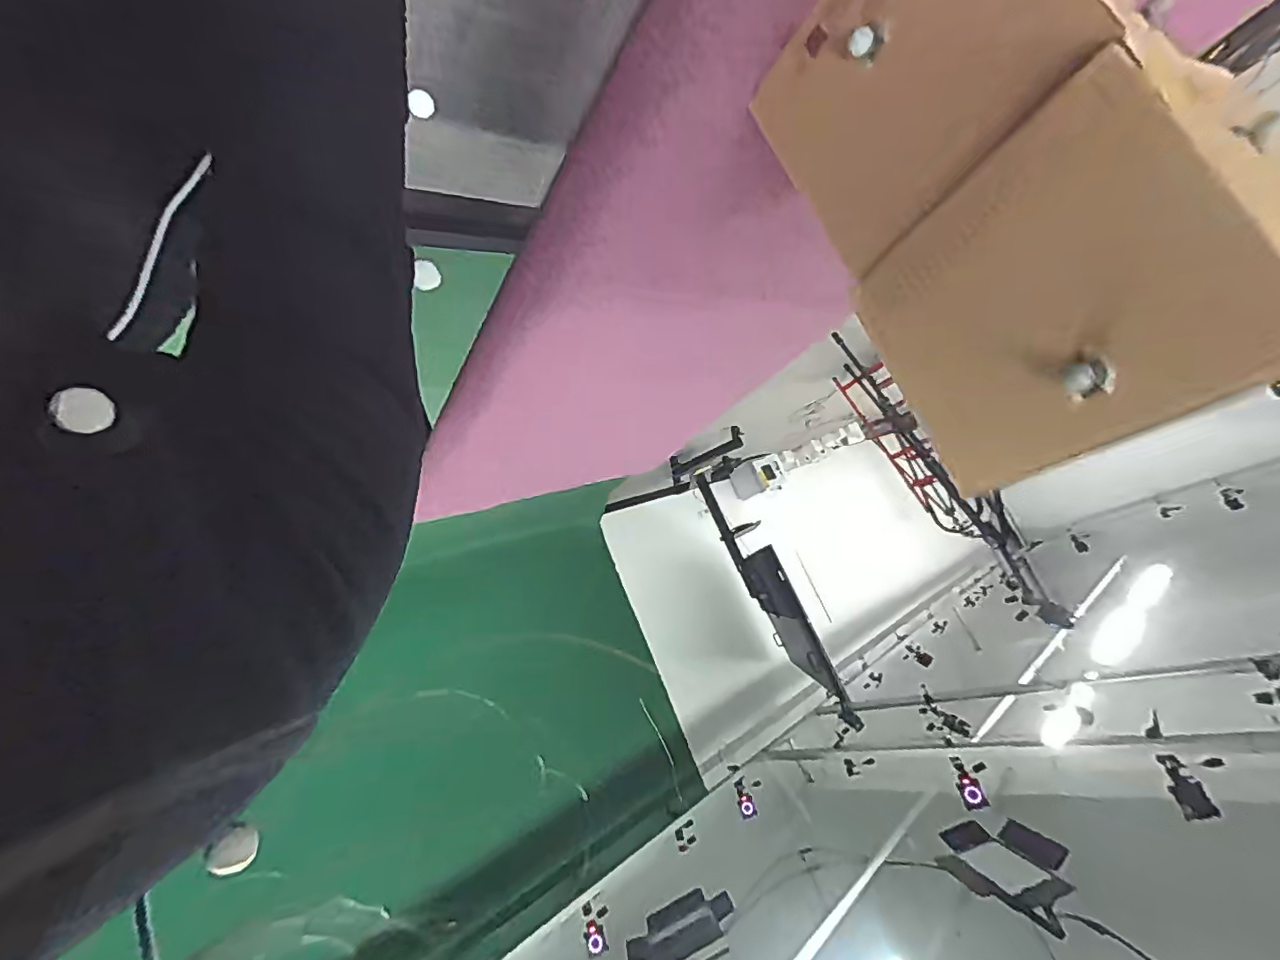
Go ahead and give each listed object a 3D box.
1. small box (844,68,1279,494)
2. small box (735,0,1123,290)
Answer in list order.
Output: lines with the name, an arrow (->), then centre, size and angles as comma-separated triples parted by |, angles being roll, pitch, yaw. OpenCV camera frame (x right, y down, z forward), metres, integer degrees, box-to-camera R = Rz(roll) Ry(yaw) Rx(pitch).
small box -> 0.264, -0.114, 0.354 | 0.168, 0.176, 0.179 | -18, 167, -30
small box -> 0.205, -0.262, 0.390 | 0.179, 0.176, 0.168 | -17, 166, -35
